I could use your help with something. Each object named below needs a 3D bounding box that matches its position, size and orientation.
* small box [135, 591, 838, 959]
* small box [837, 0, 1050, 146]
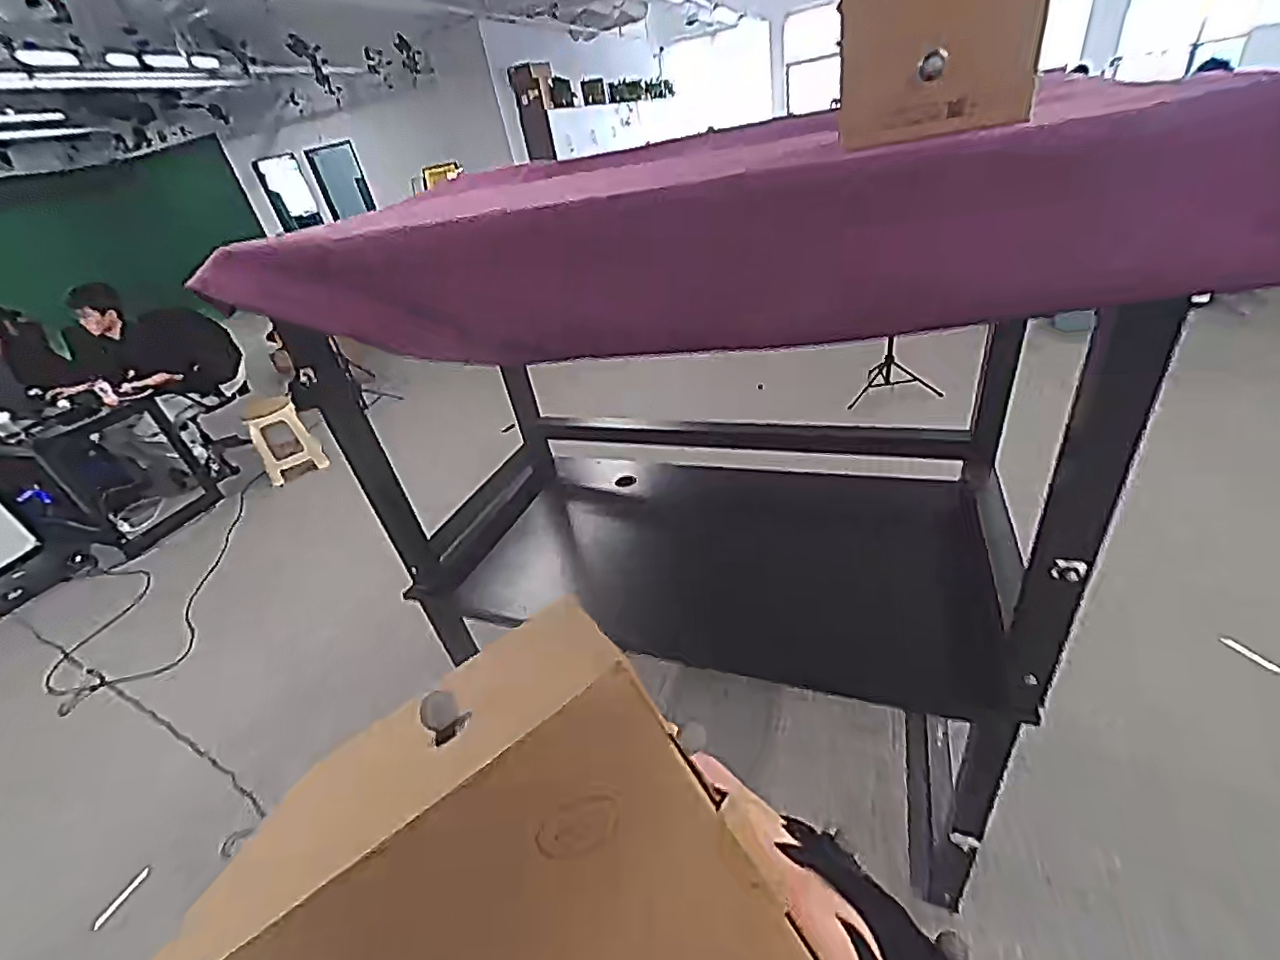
[{"bbox_3d":[-0.054,0.167,0.235,0.179,0.168,0.176,-33,4,-14],"label":"small box"},{"bbox_3d":[0.291,-0.441,0.532,0.168,0.176,0.179,5,35,25],"label":"small box"}]
